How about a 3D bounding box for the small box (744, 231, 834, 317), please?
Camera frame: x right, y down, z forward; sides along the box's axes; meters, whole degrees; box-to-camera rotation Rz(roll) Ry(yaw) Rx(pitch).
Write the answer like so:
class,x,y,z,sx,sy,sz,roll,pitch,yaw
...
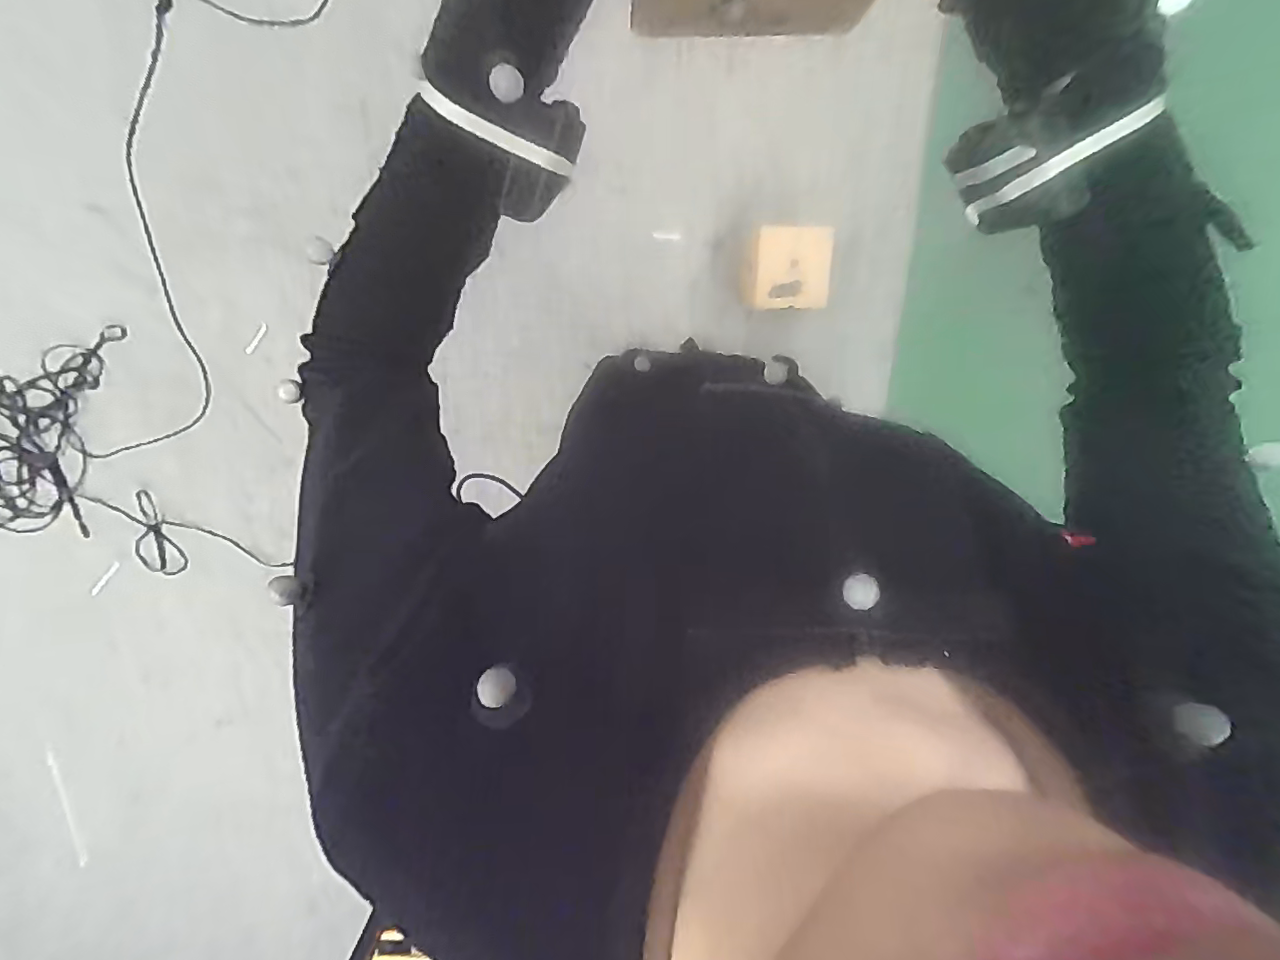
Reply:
class,x,y,z,sx,sy,sz,roll,pitch,yaw
small box,0.344,-0.480,1.281,0.168,0.176,0.179,1,104,0
